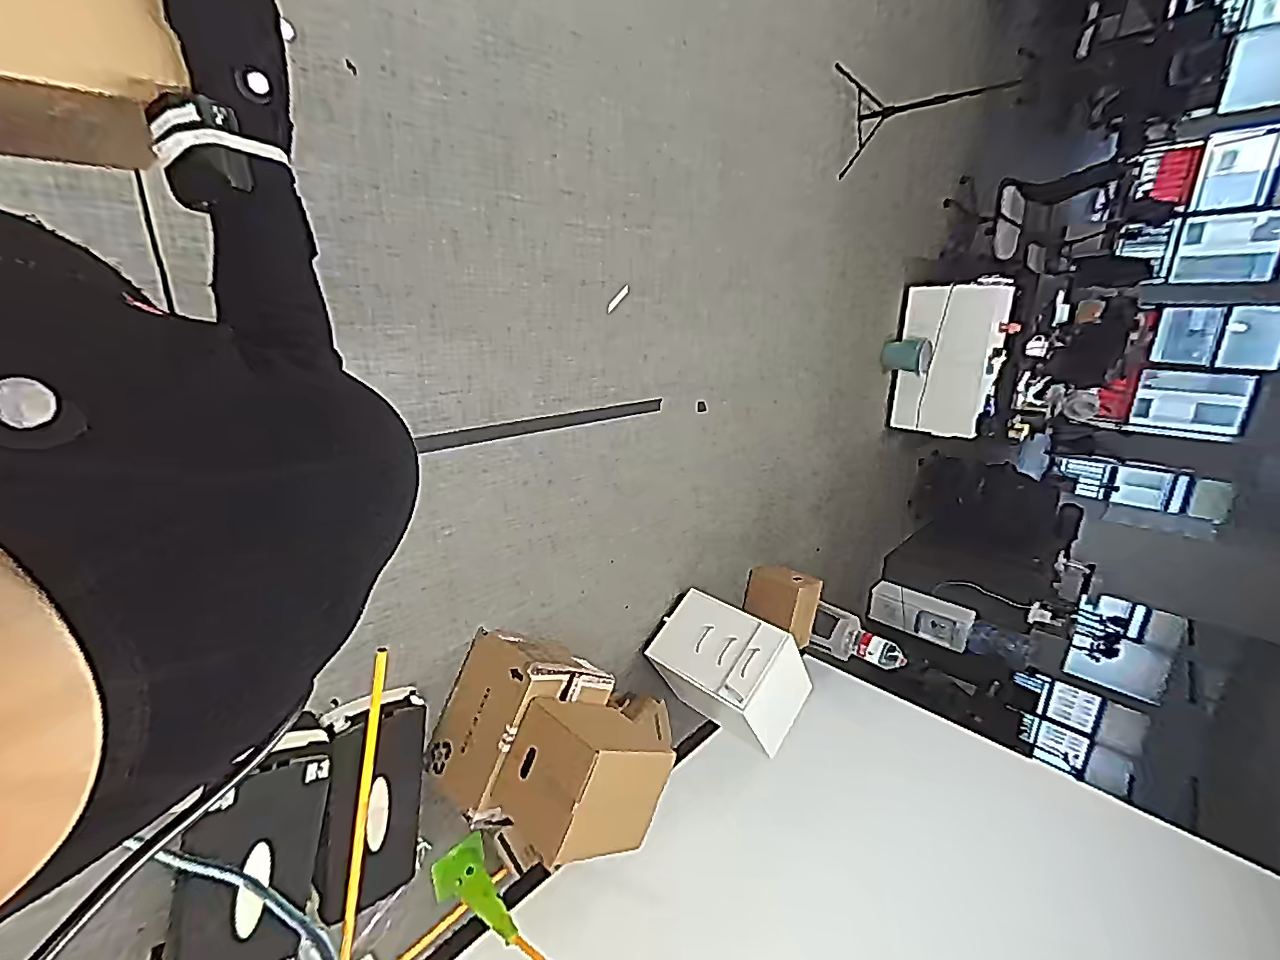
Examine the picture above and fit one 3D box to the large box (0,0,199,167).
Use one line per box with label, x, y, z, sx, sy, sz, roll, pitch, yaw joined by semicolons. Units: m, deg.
large box;-0.588;-0.412;0.328;0.408;0.320;0.320;-21;118;-45
